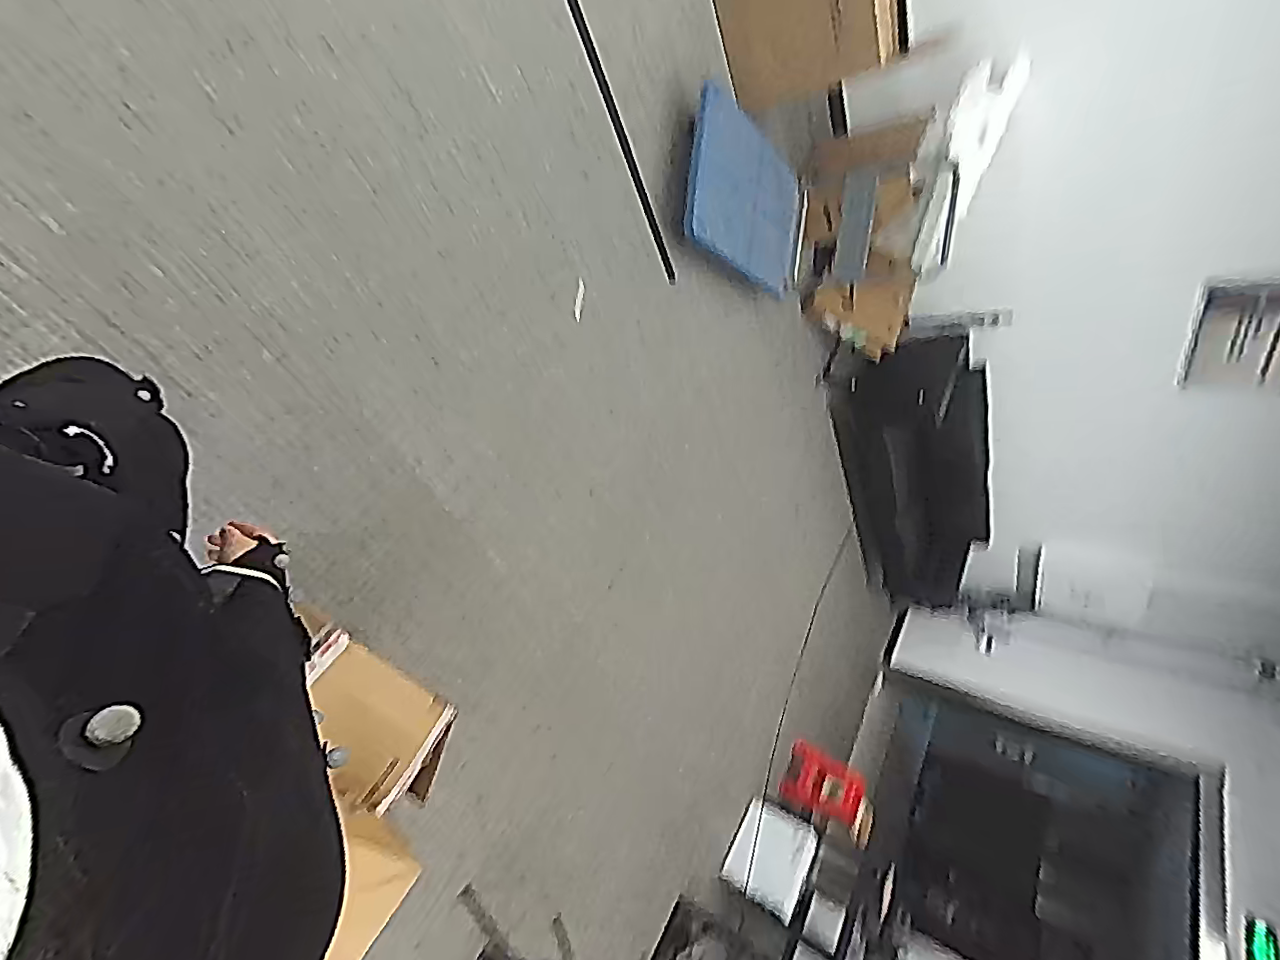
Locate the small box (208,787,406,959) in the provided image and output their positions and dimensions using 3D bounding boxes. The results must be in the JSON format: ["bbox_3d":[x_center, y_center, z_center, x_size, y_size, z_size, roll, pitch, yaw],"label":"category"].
[{"bbox_3d":[-0.502,0.620,0.832,0.168,0.176,0.179,-53,132,-27],"label":"small box"}]
